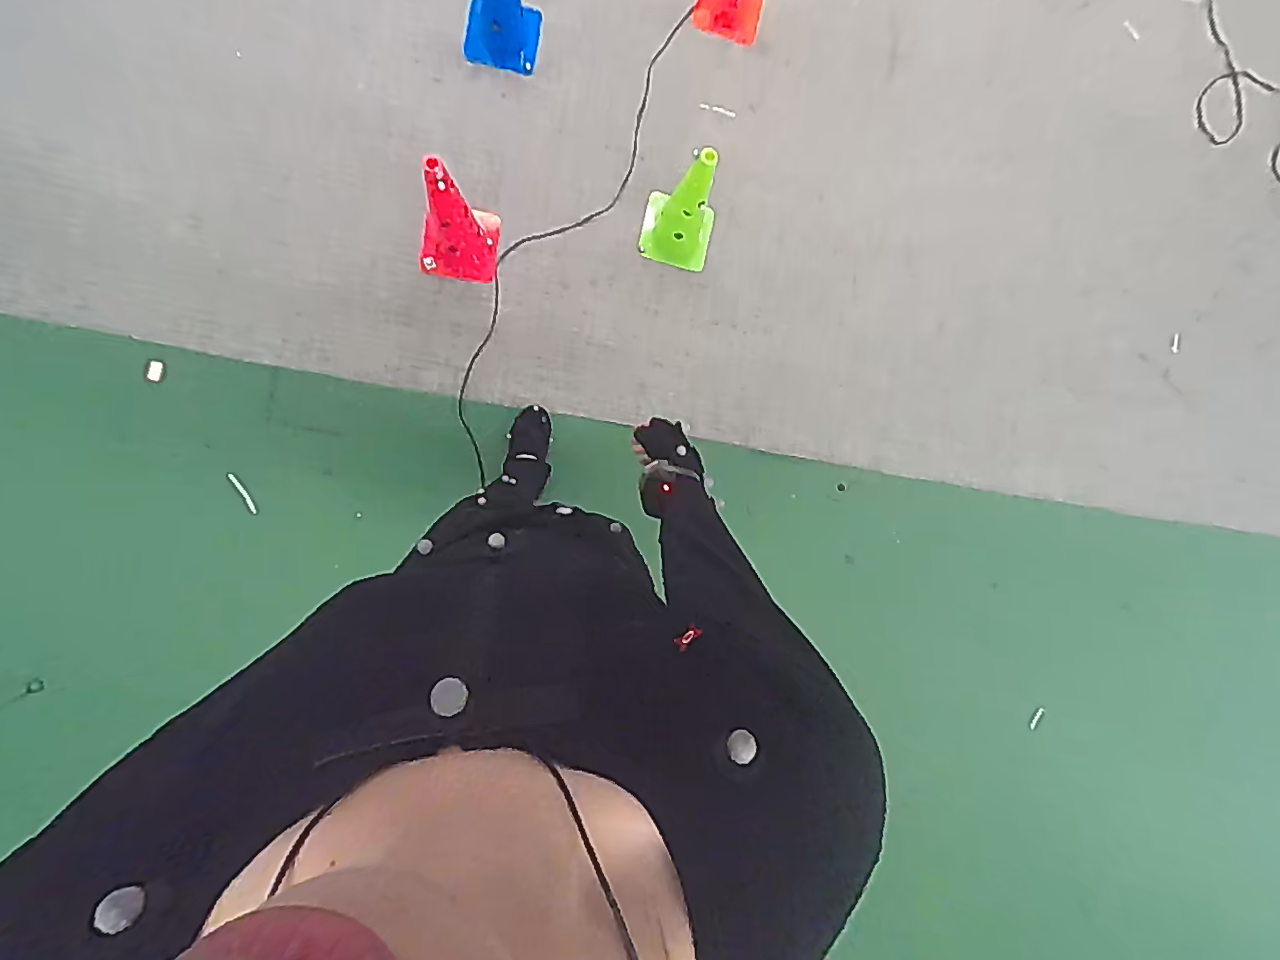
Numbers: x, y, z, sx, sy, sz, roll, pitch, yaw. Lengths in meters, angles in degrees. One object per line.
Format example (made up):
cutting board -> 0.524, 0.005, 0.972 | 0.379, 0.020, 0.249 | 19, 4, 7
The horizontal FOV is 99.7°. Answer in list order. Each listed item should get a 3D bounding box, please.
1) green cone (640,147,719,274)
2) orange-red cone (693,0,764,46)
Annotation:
green cone -> 0.138, -0.726, 1.411 | 0.200, 0.368, 0.202 | 12, 84, -8
orange-red cone -> 0.291, -1.439, 1.473 | 0.198, 0.360, 0.199 | 14, 87, -6
